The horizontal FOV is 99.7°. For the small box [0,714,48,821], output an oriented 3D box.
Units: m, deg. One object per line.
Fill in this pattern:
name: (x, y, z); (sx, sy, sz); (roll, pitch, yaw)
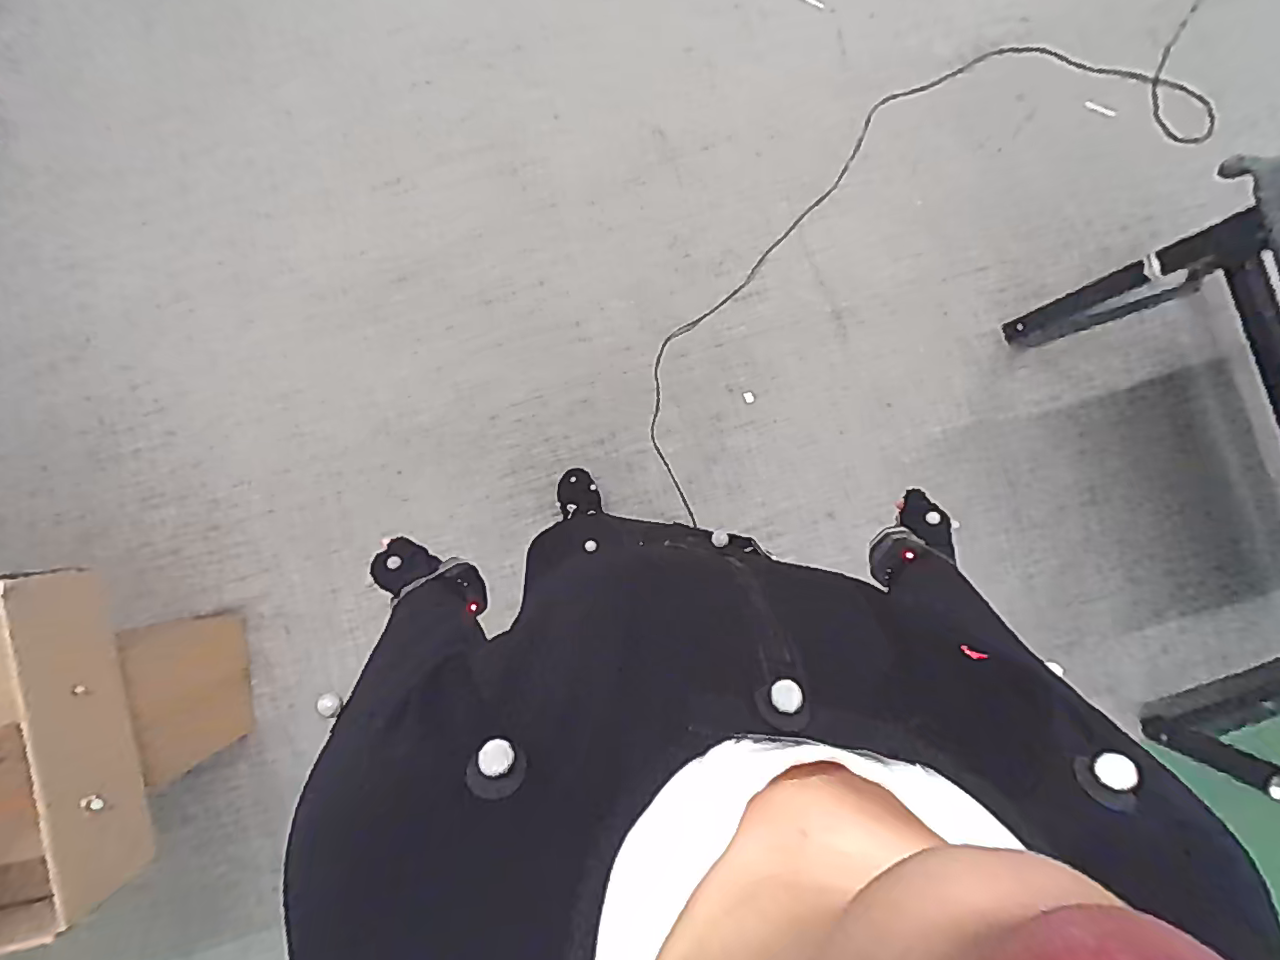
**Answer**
small box: (-1.218, 0.538, 0.960); (0.179, 0.176, 0.168); (-14, 85, 2)
